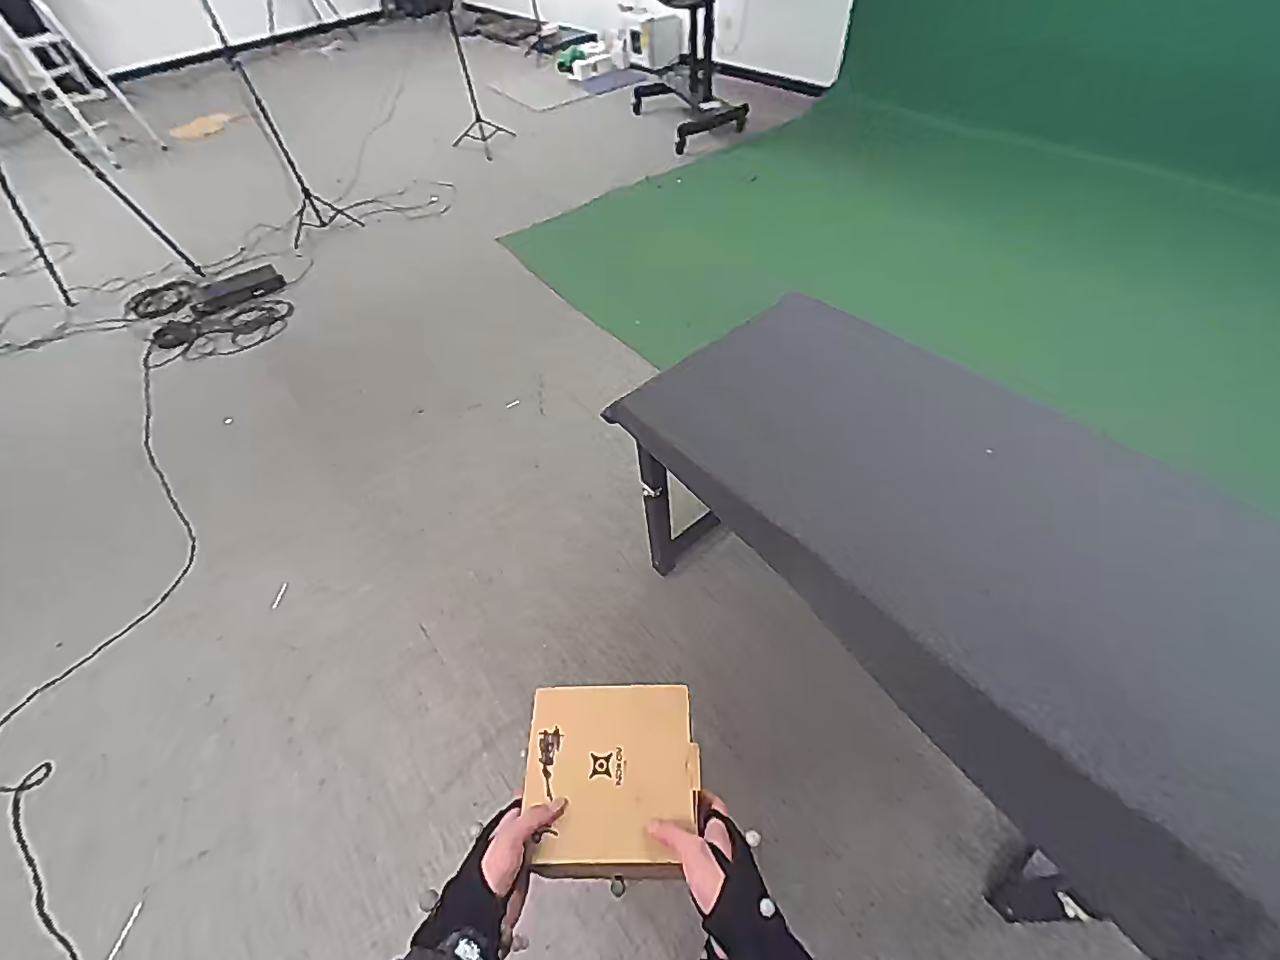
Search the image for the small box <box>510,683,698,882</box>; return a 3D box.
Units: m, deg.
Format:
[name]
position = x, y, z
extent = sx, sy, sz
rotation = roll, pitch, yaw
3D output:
[small box]
position = -0.031, 0.341, 0.609
extent = 0.179, 0.176, 0.168
rotation = -2, 48, 2
